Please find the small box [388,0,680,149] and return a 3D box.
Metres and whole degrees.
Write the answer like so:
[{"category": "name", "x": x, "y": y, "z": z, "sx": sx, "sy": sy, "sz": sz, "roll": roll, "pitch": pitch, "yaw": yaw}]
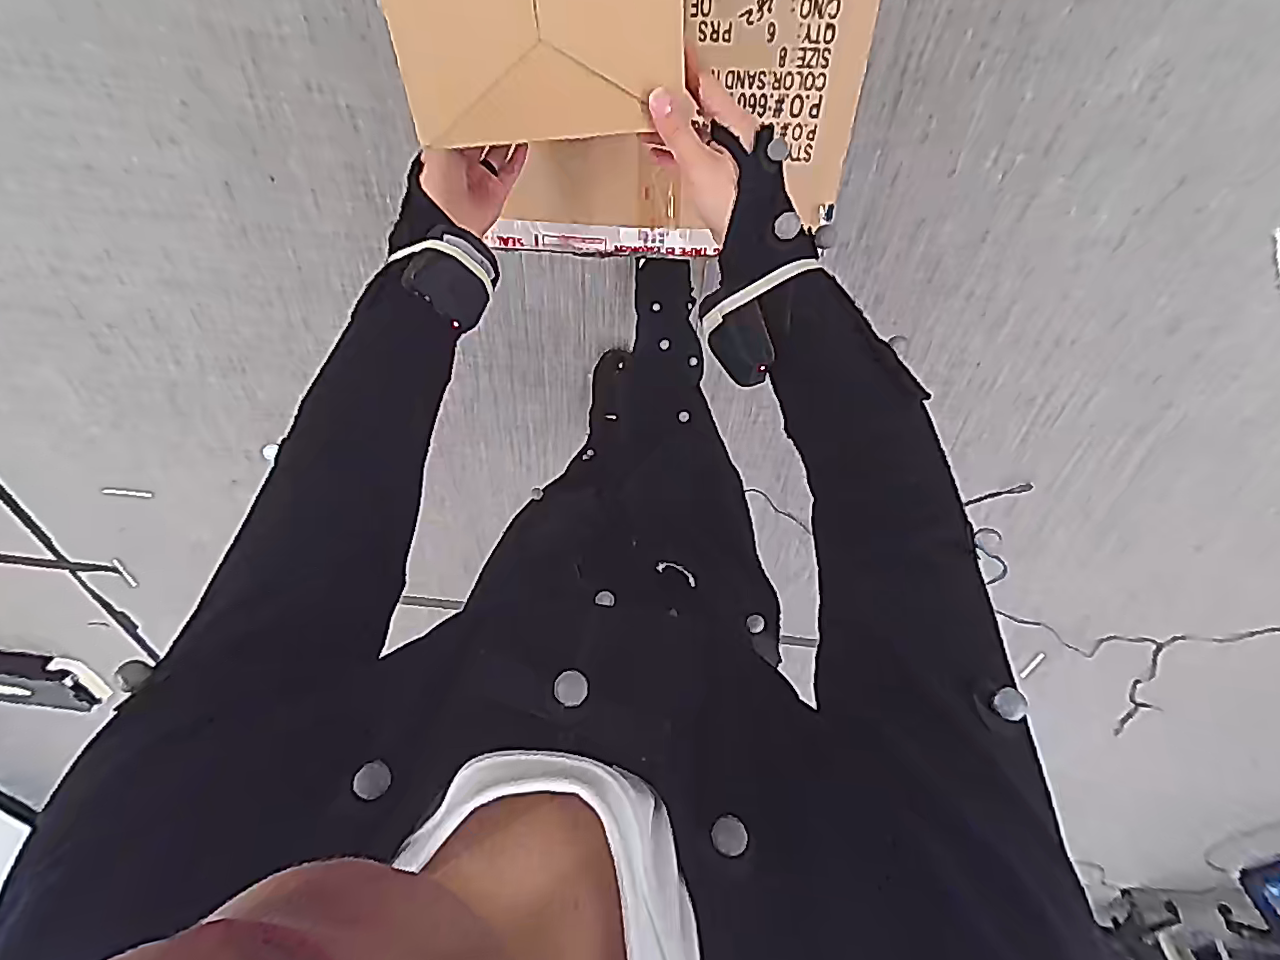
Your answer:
[{"category": "small box", "x": -0.066, "y": -0.340, "z": 0.376, "sx": 0.179, "sy": 0.176, "sz": 0.168, "roll": -5, "pitch": 128, "yaw": 0}]
